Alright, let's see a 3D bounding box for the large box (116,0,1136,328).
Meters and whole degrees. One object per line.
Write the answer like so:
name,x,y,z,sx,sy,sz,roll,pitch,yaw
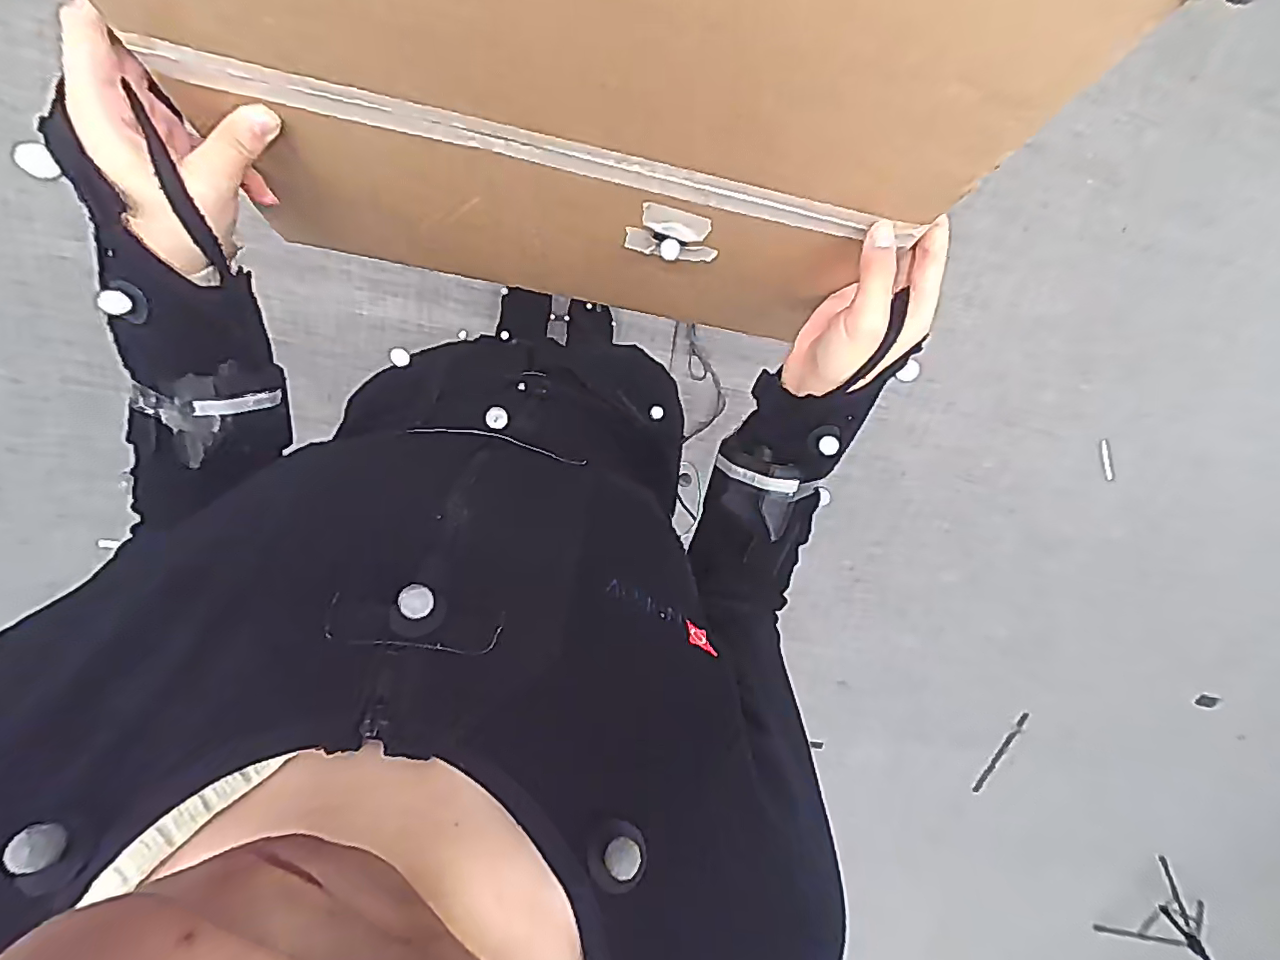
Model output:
large box,-0.023,-0.324,0.311,0.408,0.320,0.320,8,81,-9
